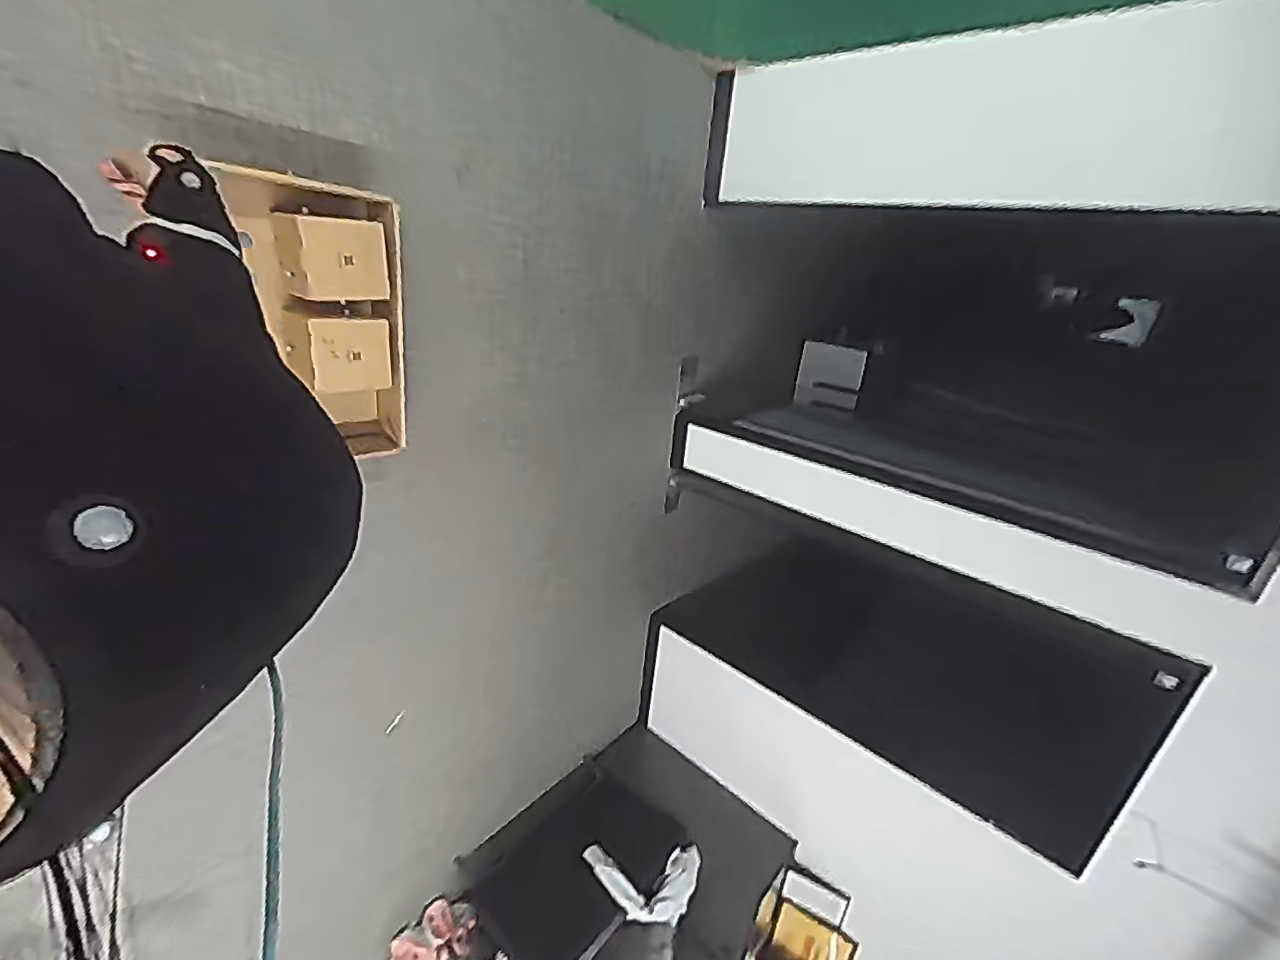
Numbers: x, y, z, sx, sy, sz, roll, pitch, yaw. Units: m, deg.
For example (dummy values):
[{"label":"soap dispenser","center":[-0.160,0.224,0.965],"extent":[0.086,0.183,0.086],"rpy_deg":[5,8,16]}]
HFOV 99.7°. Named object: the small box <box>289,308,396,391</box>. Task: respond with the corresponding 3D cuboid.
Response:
[{"label":"small box","center":[-0.708,-0.315,1.292],"extent":[0.179,0.176,0.168],"rpy_deg":[-15,119,-46]}]
